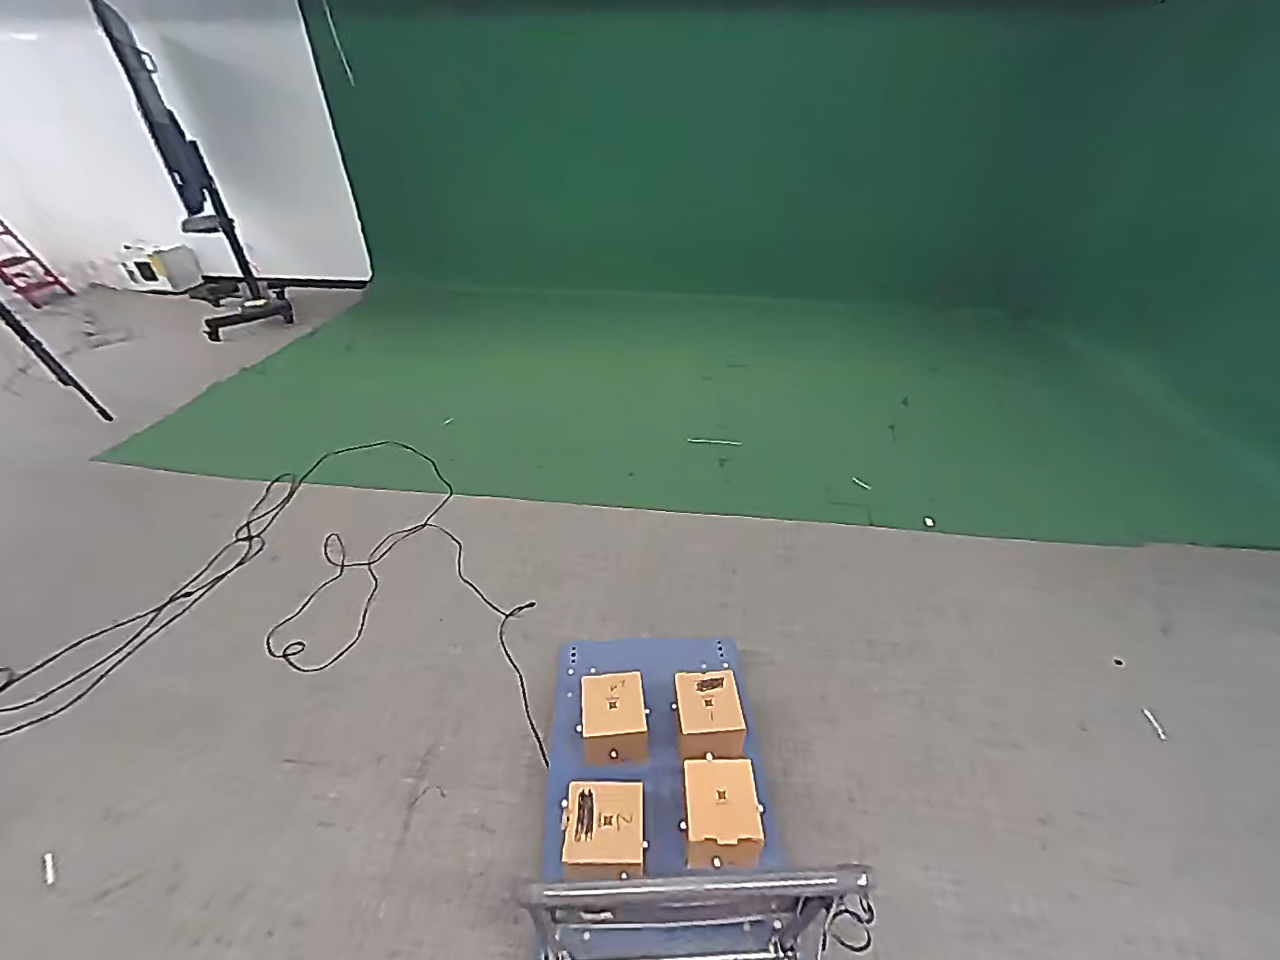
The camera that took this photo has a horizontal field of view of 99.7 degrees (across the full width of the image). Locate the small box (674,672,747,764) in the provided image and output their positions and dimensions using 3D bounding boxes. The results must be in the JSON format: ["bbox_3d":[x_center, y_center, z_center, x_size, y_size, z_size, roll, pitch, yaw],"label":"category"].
[{"bbox_3d":[0.185,0.656,1.484,0.168,0.176,0.179,-3,38,-3],"label":"small box"}]

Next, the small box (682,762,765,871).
[{"bbox_3d":[0.190,0.802,1.291,0.168,0.176,0.179,0,37,-1],"label":"small box"}]

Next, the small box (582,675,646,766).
[{"bbox_3d":[-0.071,0.661,1.478,0.168,0.176,0.179,-3,37,-5],"label":"small box"}]
